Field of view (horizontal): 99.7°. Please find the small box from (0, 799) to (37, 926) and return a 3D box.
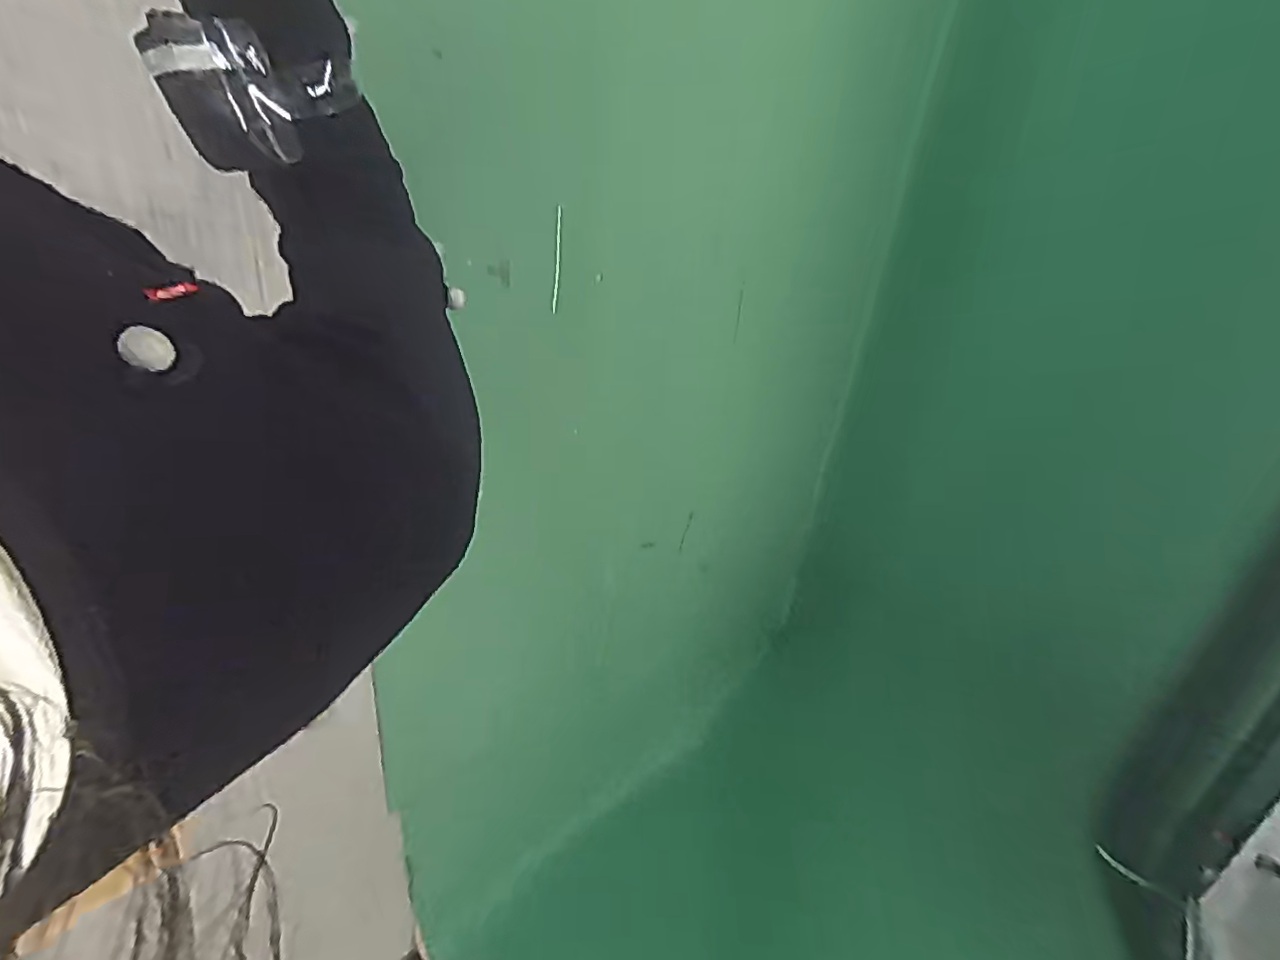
[{"bbox_3d":[-1.316,0.772,1.039,0.179,0.176,0.168,-21,126,-45],"label":"small box"}]
